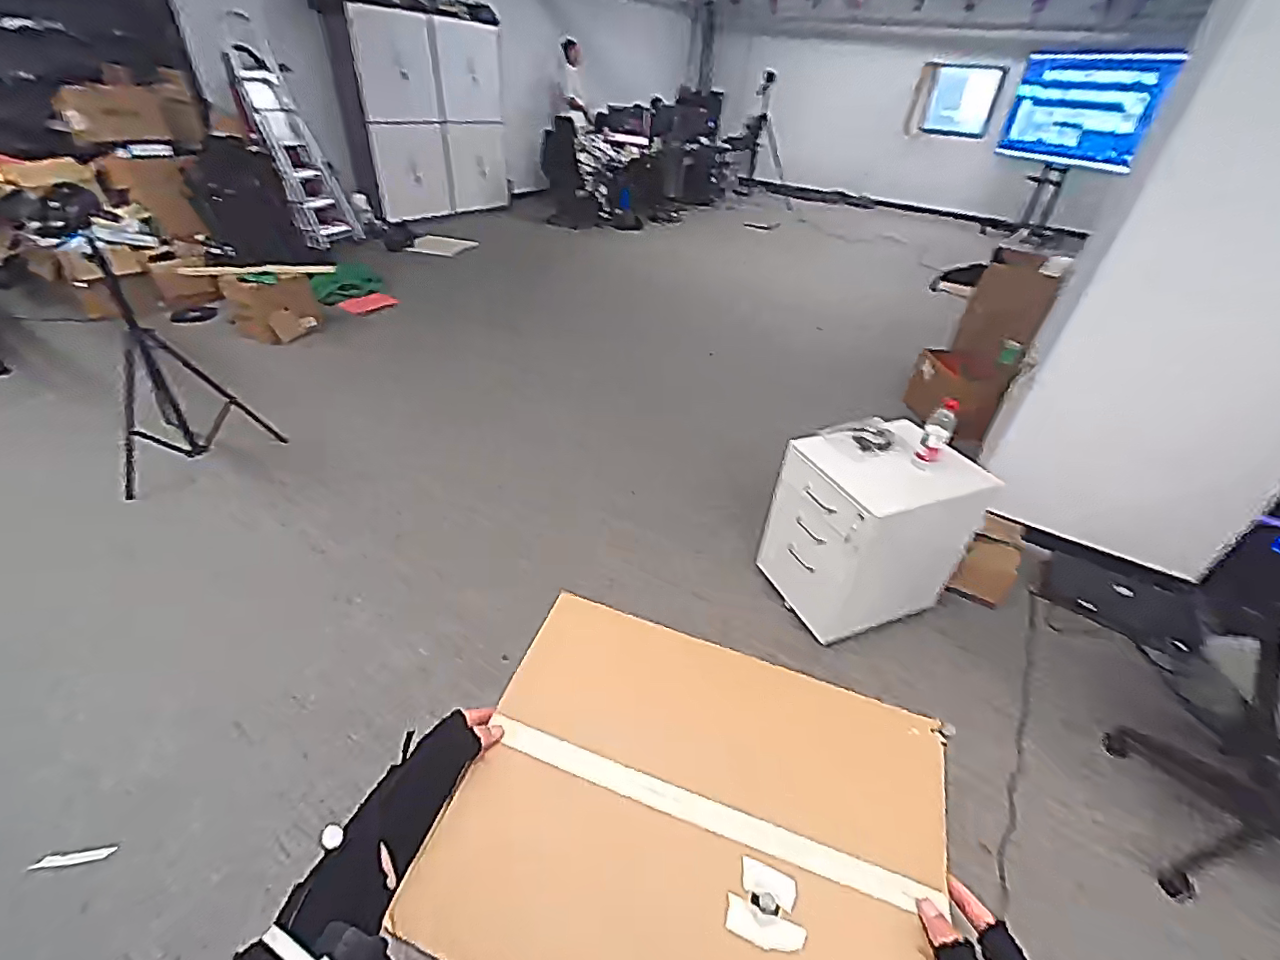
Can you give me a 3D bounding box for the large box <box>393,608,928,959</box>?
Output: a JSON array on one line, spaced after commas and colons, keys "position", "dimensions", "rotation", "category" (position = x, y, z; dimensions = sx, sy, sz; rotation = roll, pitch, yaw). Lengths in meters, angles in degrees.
[{"position": [0.033, 0.399, 0.578], "dimensions": [0.408, 0.320, 0.320], "rotation": [16, 46, 11], "category": "large box"}]
